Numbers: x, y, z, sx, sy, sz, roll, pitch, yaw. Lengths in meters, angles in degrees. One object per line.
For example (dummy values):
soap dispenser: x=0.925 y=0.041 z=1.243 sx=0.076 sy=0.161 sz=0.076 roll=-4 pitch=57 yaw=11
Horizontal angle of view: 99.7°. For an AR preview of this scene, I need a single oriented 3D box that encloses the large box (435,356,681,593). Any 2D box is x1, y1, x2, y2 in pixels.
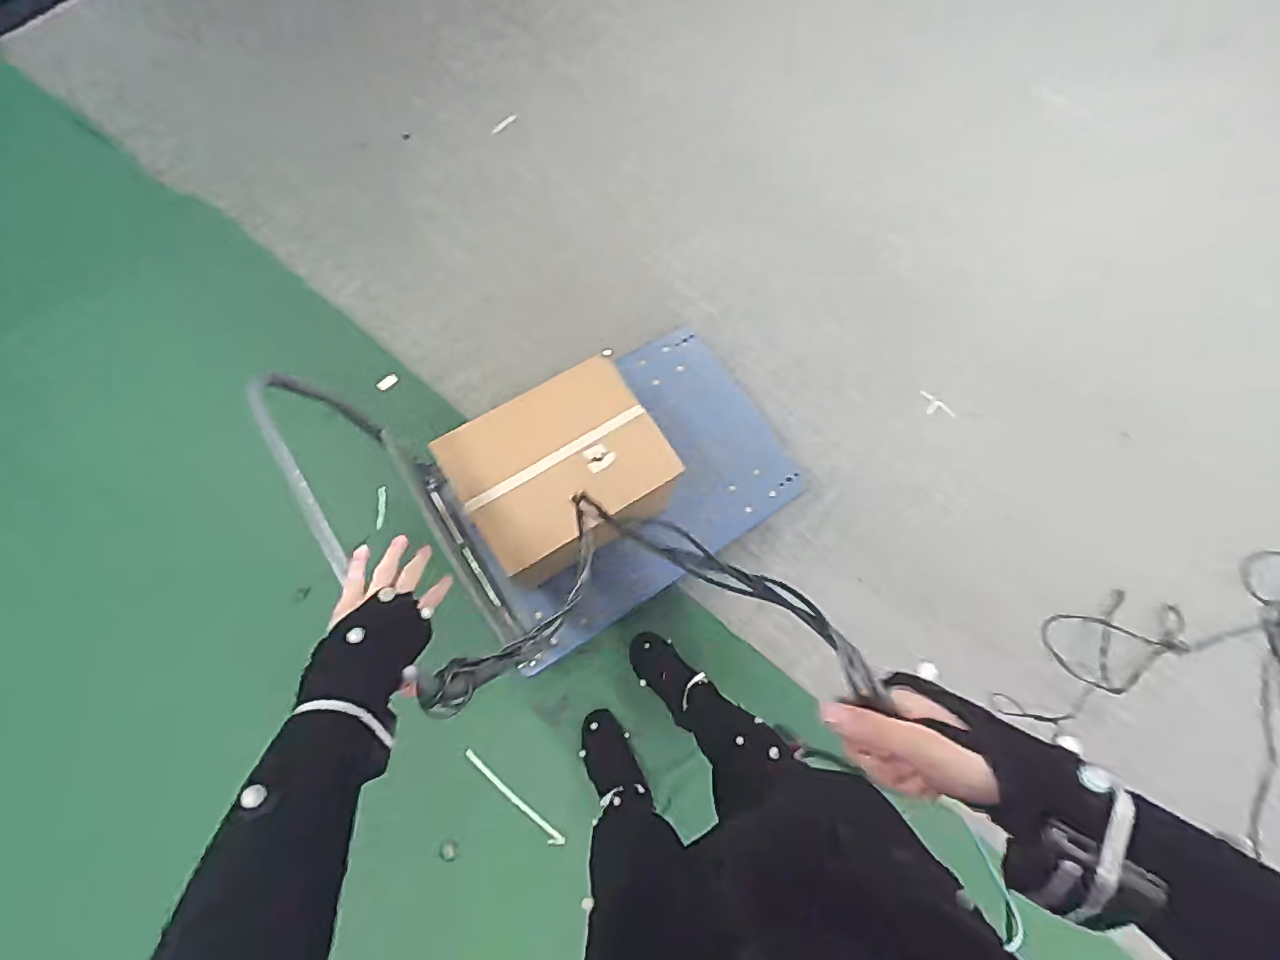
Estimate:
large box: x=-0.174 y=0.003 z=1.214 sx=0.408 sy=0.320 sz=0.320 roll=-31 pitch=78 yaw=-14
